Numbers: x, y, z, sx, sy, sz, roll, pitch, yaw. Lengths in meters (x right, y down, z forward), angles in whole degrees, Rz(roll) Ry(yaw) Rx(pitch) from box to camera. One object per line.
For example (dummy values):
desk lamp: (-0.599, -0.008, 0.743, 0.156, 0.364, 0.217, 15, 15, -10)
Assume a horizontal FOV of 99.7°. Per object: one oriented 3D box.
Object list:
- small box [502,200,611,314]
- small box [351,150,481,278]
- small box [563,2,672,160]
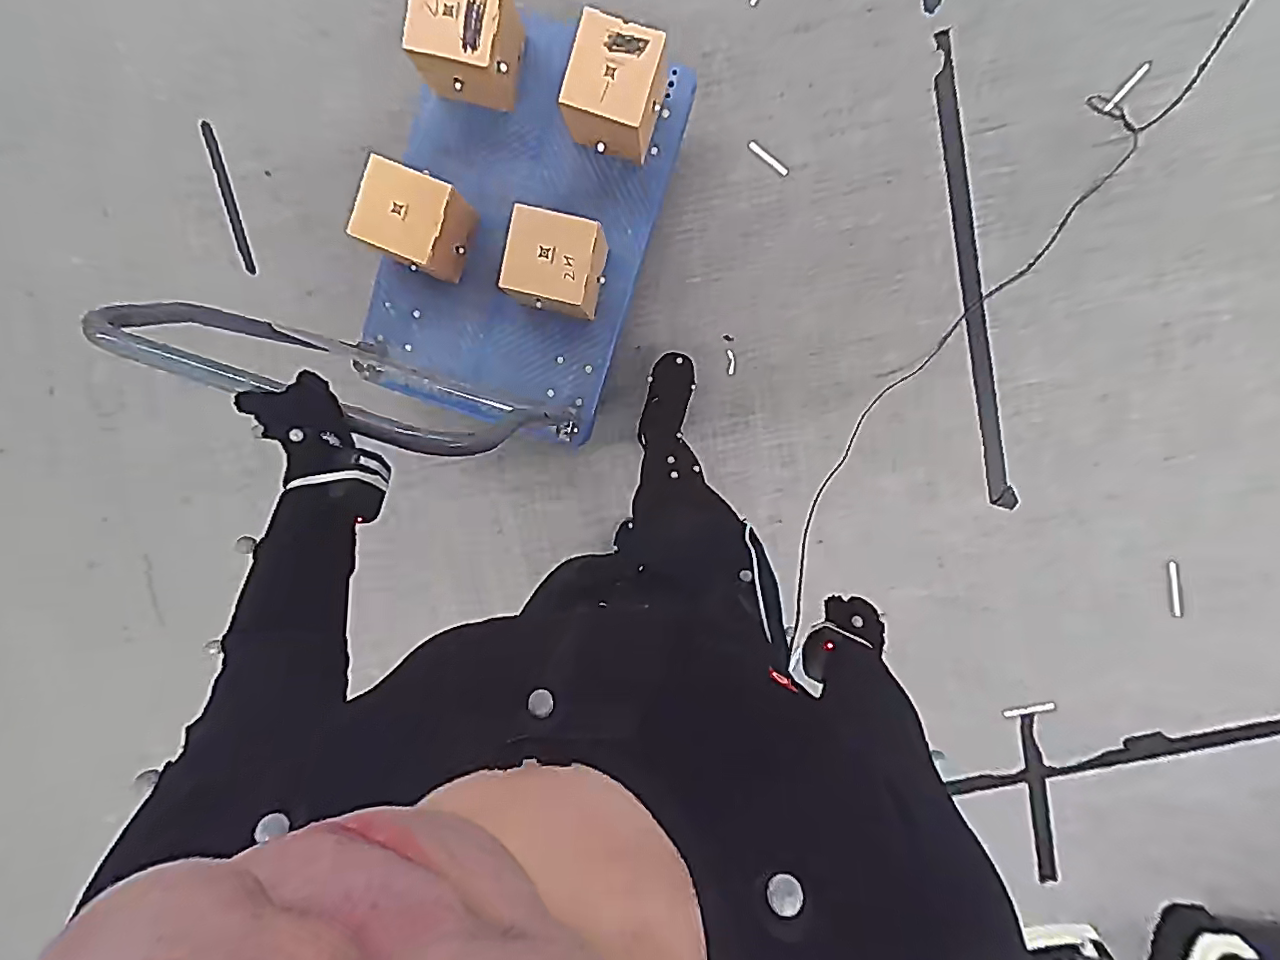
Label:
small box: (-0.170, -0.462, 1.147, 0.179, 0.176, 0.168, 14, 98, 1)
small box: (-0.466, -0.552, 1.149, 0.179, 0.176, 0.168, 21, 97, -2)
small box: (-0.041, -0.797, 1.099, 0.168, 0.176, 0.179, 19, 99, 0)
